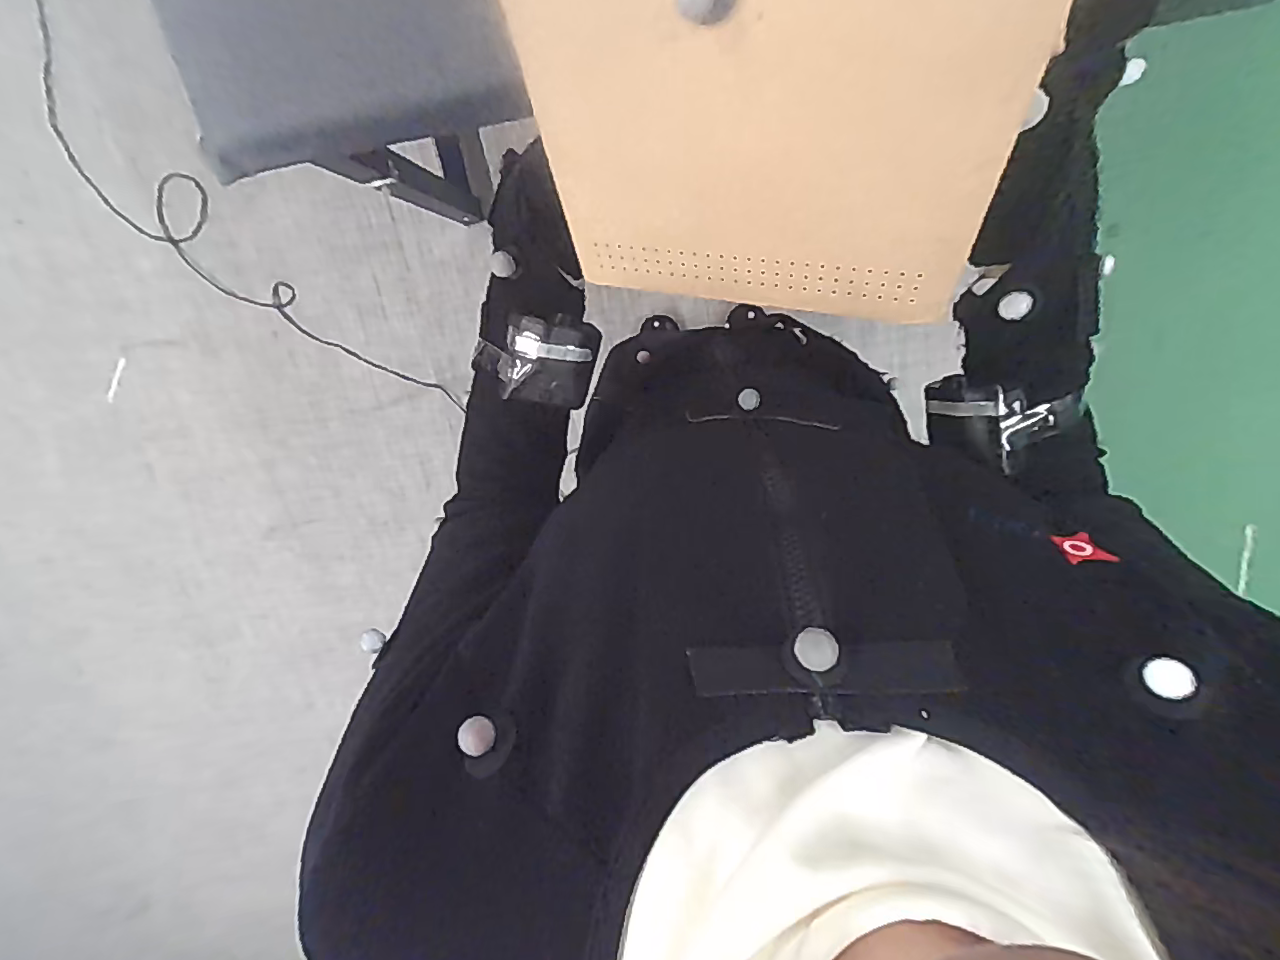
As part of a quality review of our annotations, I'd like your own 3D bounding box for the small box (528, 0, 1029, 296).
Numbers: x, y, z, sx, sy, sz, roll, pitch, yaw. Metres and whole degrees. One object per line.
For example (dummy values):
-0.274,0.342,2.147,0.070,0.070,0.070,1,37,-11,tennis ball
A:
0.062,-0.203,0.233,0.179,0.168,0.176,14,153,18,small box
